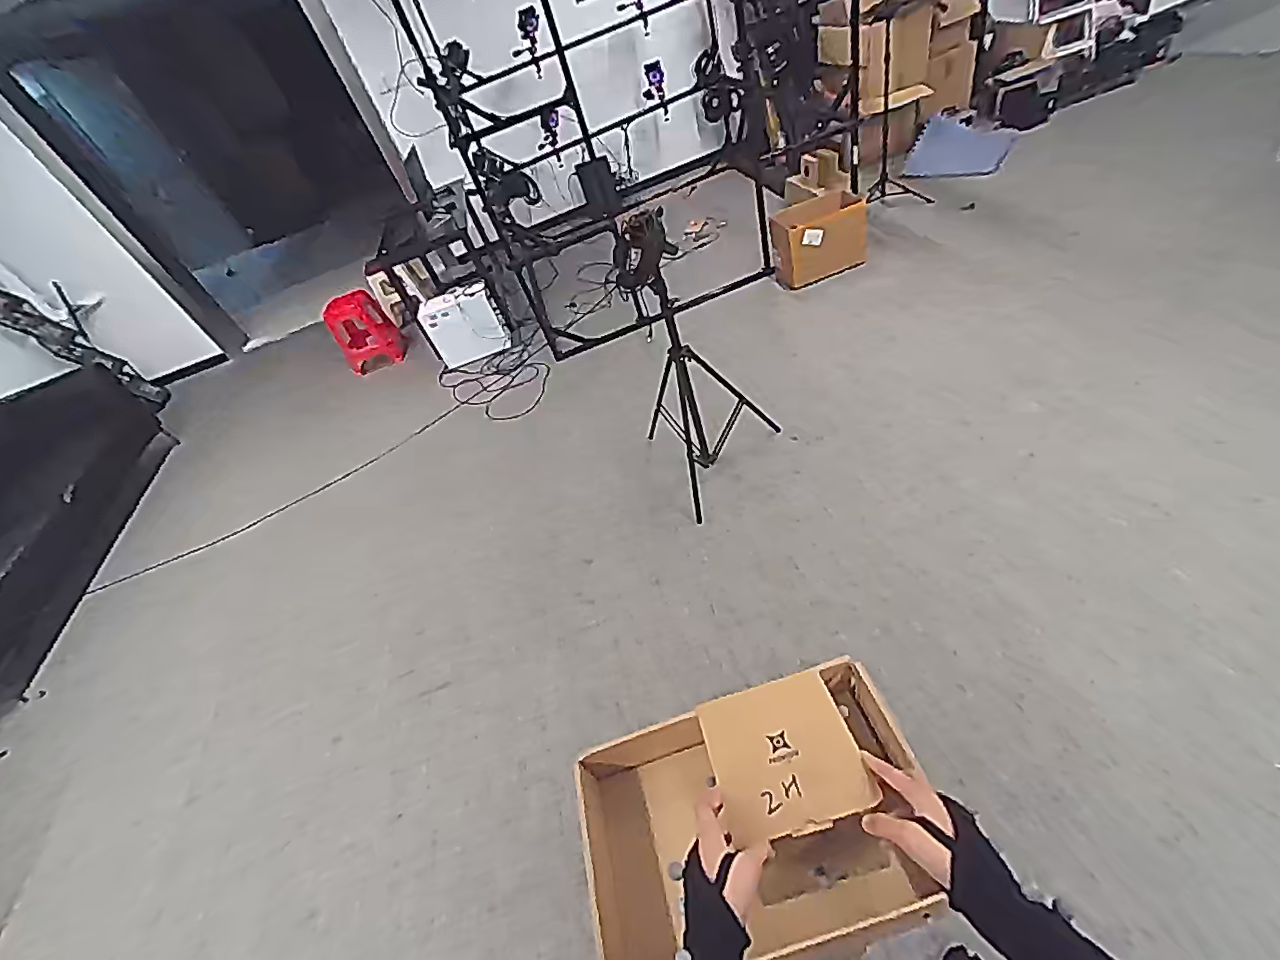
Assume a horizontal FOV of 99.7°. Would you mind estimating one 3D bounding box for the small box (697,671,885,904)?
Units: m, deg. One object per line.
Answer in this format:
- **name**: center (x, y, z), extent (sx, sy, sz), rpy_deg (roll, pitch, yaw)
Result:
- **small box**: center (0.183, 0.378, 0.672), extent (0.168, 0.176, 0.179), rpy_deg (-19, 34, 1)
